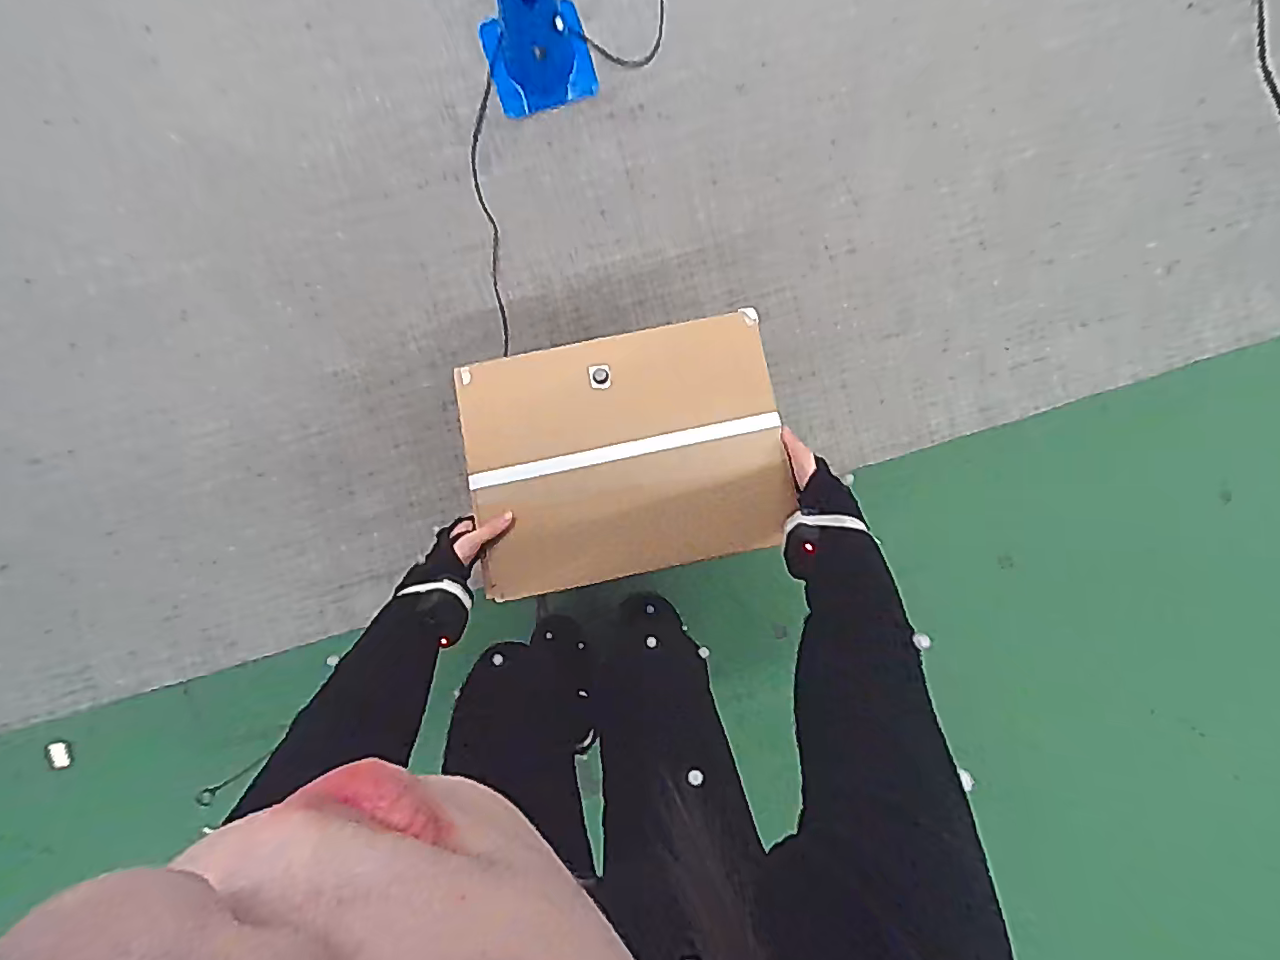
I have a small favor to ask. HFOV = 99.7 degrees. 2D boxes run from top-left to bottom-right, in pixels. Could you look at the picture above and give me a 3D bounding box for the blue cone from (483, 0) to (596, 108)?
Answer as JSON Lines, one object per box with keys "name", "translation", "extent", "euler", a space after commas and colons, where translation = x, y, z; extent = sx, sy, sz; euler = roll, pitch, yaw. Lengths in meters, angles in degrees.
{"name": "blue cone", "translation": [-0.192, -0.833, 0.891], "extent": [0.193, 0.380, 0.192], "euler": [-20, 91, 0]}
